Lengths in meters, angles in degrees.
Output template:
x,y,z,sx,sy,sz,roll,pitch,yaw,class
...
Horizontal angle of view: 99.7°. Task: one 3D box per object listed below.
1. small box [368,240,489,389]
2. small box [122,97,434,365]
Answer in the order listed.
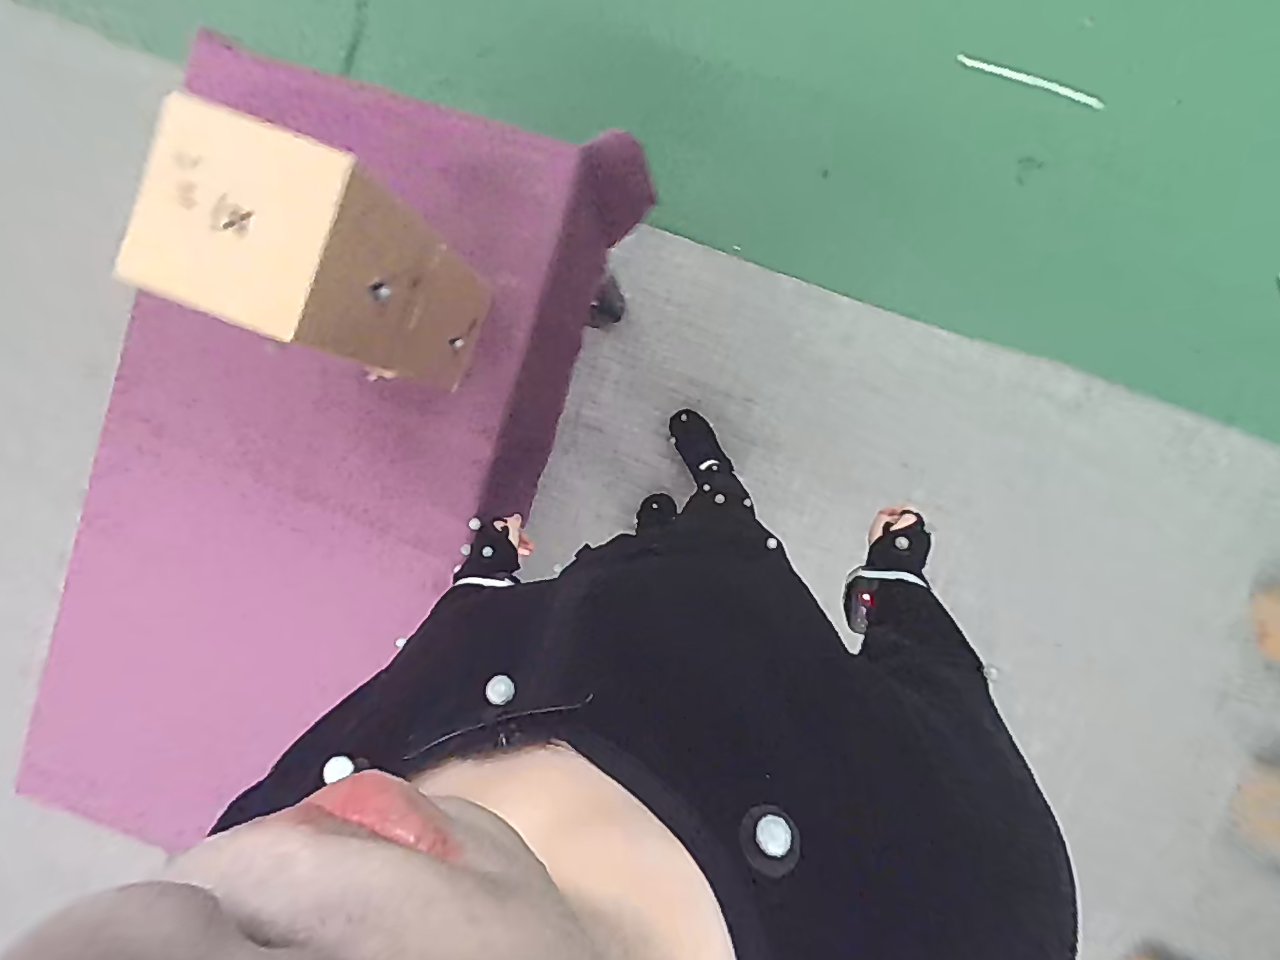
x,y,z,sx,sy,sz,roll,pitch,yaw,class
-0.328,-0.230,0.709,0.179,0.176,0.168,22,93,3,small box
-0.340,-0.226,0.544,0.179,0.176,0.168,21,93,4,small box
